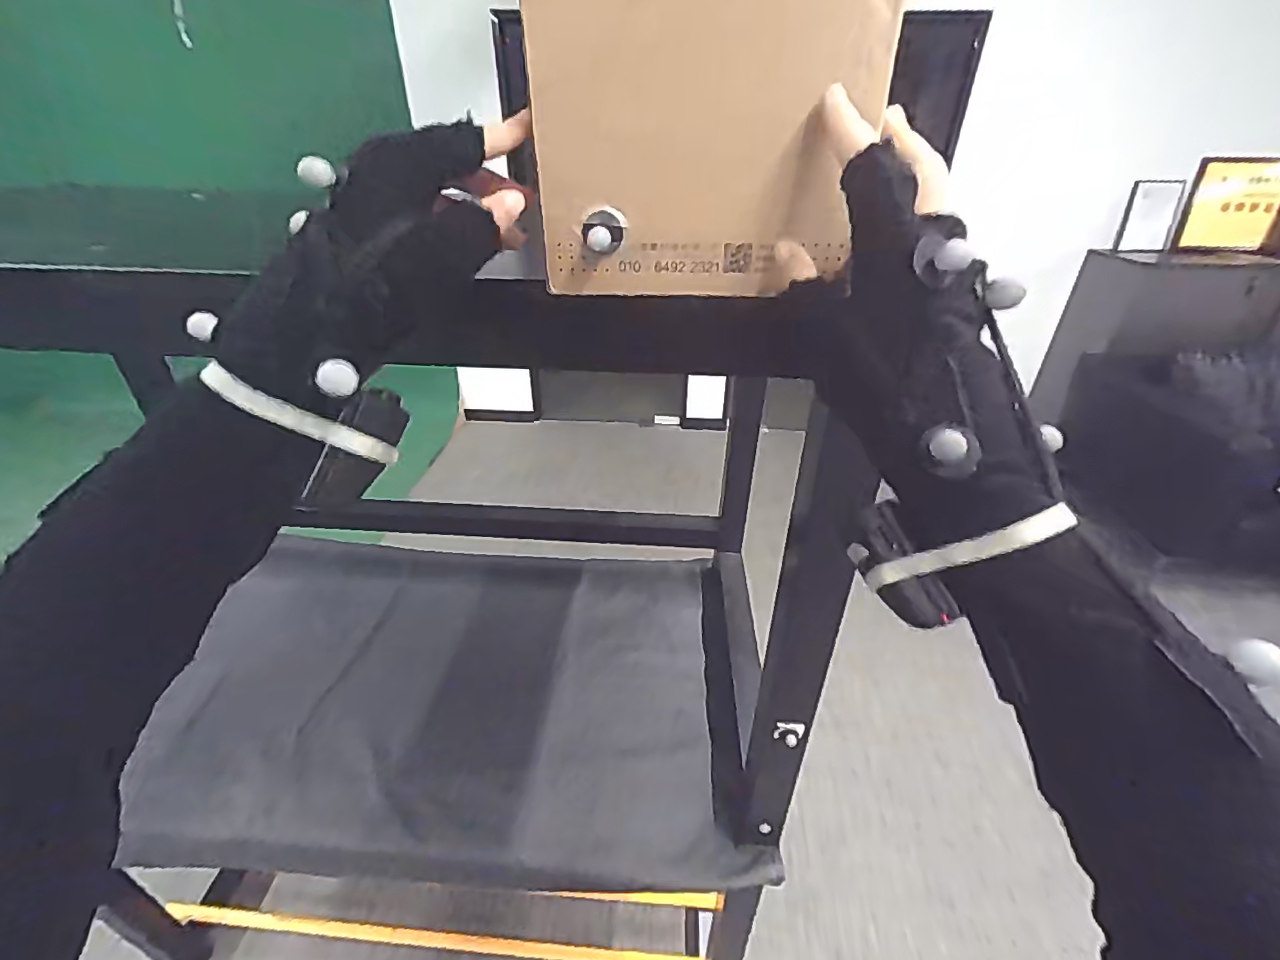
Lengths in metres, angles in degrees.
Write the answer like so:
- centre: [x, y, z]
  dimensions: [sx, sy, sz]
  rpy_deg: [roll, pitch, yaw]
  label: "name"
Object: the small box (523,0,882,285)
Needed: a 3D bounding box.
- centre: [0.036, -0.220, 0.330]
  dimensions: [0.168, 0.176, 0.179]
  rpy_deg: [3, 31, 4]
  label: "small box"
